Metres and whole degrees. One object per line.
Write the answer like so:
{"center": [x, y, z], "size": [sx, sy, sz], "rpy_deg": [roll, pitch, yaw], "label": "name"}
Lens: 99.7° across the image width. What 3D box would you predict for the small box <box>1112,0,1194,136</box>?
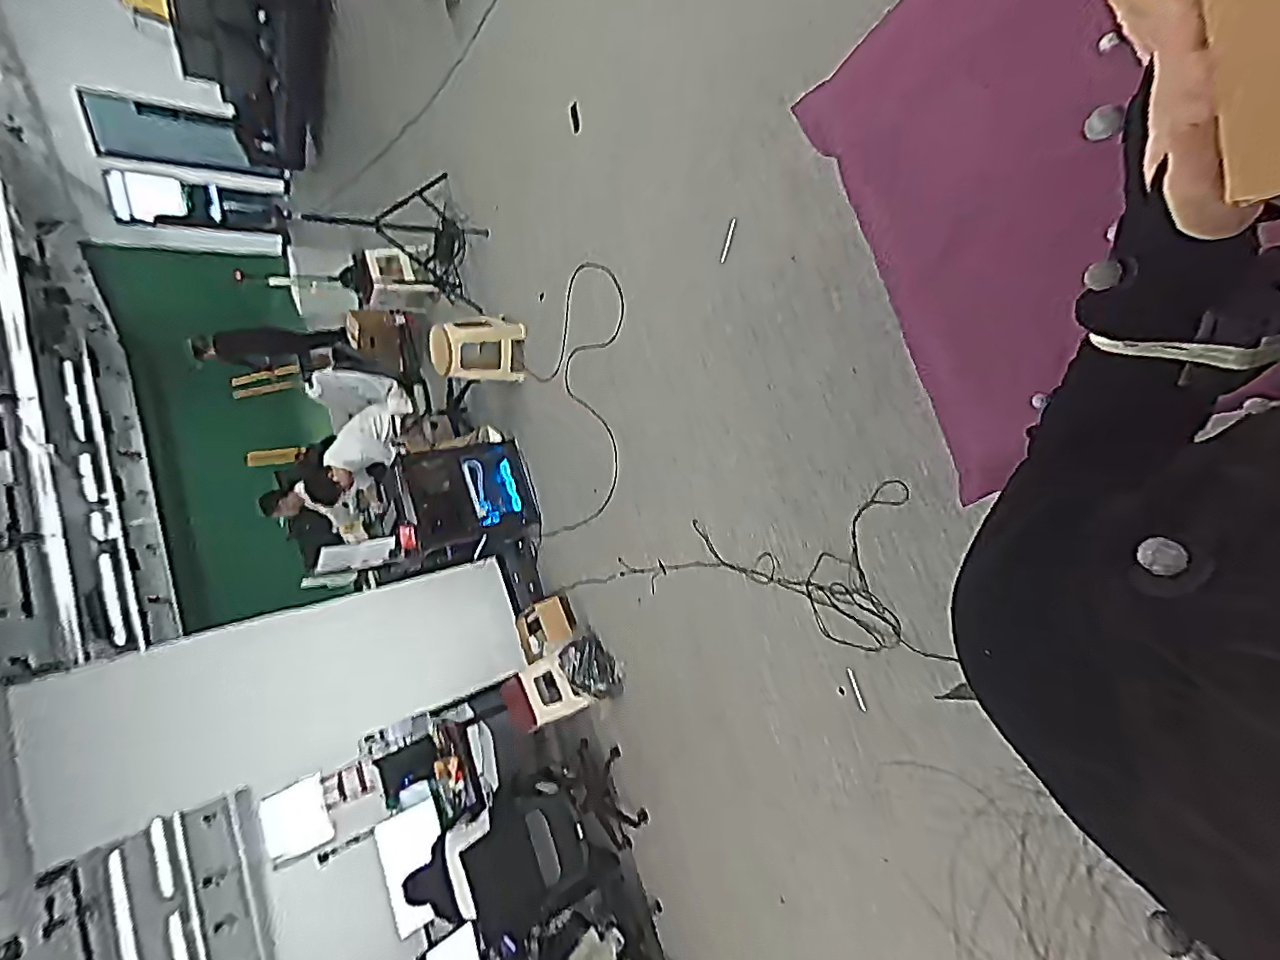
{"center": [0.401, -0.333, 0.321], "size": [0.168, 0.176, 0.179], "rpy_deg": [-30, 78, 52], "label": "small box"}
